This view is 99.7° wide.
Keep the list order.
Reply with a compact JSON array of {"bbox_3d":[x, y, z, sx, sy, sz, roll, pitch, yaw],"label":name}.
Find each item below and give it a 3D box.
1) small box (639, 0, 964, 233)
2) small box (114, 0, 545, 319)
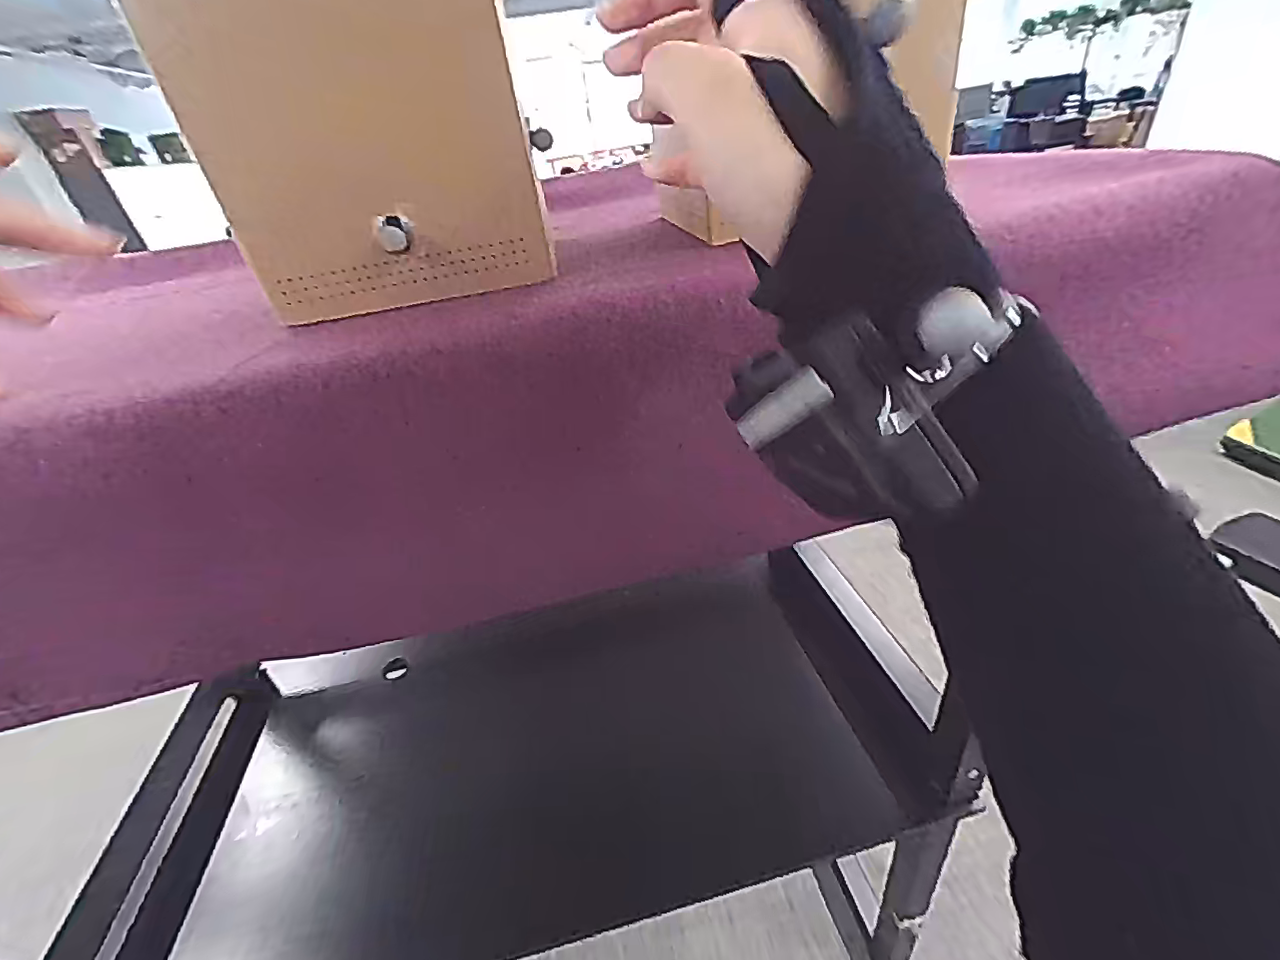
[{"bbox_3d":[0.098,-0.285,0.388,0.168,0.176,0.179,-12,33,-3],"label":"small box"},{"bbox_3d":[-0.162,-0.220,0.357,0.179,0.176,0.168,-11,32,-3],"label":"small box"}]
